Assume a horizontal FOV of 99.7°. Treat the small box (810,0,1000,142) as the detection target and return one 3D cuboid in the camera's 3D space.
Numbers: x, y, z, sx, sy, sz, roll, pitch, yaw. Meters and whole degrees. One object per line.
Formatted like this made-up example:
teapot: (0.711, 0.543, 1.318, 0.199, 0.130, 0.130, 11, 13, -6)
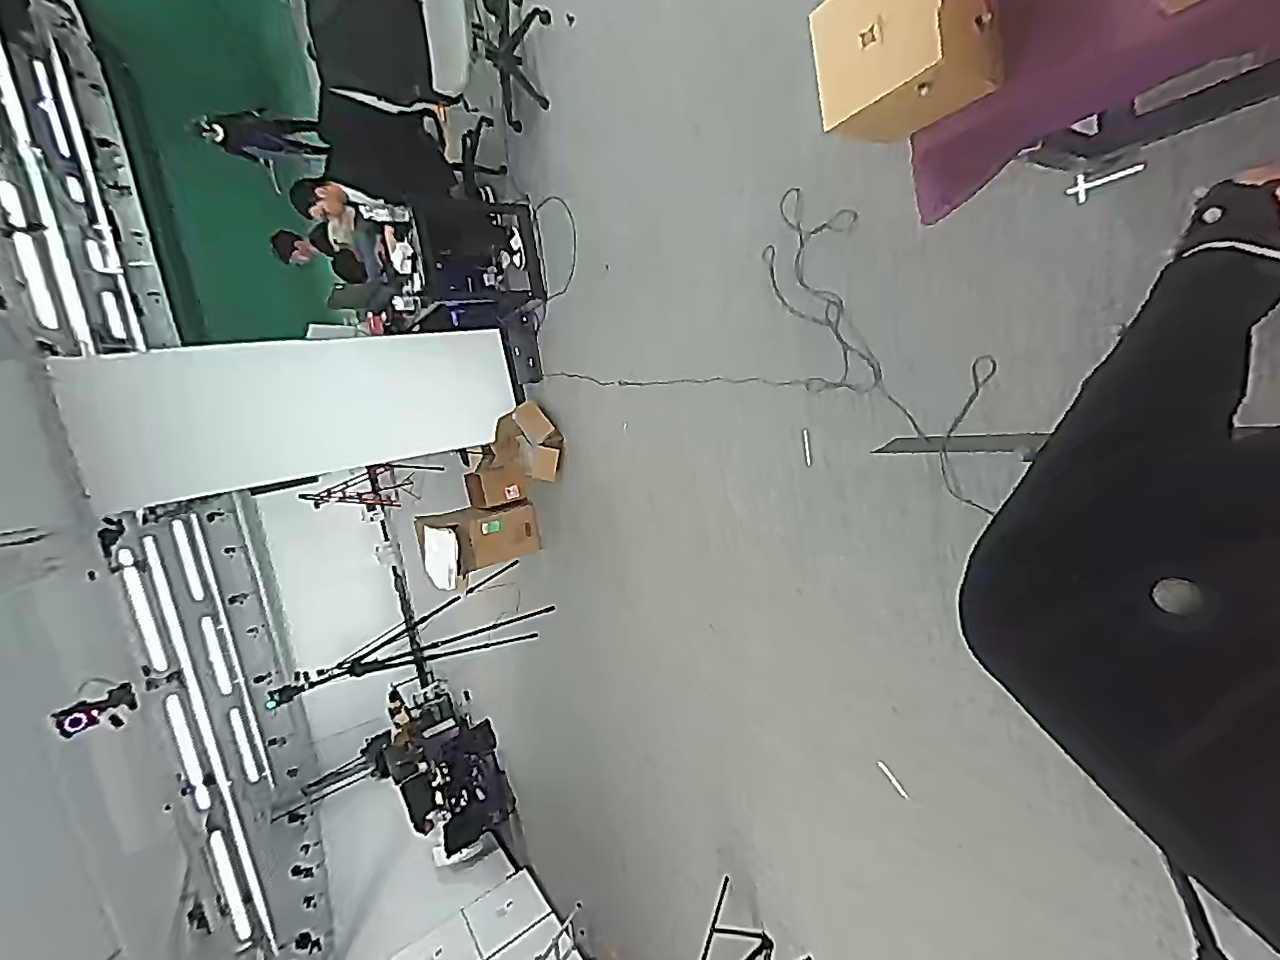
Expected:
small box: (0.372, -0.610, 0.764, 0.179, 0.176, 0.168, 0, 102, 55)
